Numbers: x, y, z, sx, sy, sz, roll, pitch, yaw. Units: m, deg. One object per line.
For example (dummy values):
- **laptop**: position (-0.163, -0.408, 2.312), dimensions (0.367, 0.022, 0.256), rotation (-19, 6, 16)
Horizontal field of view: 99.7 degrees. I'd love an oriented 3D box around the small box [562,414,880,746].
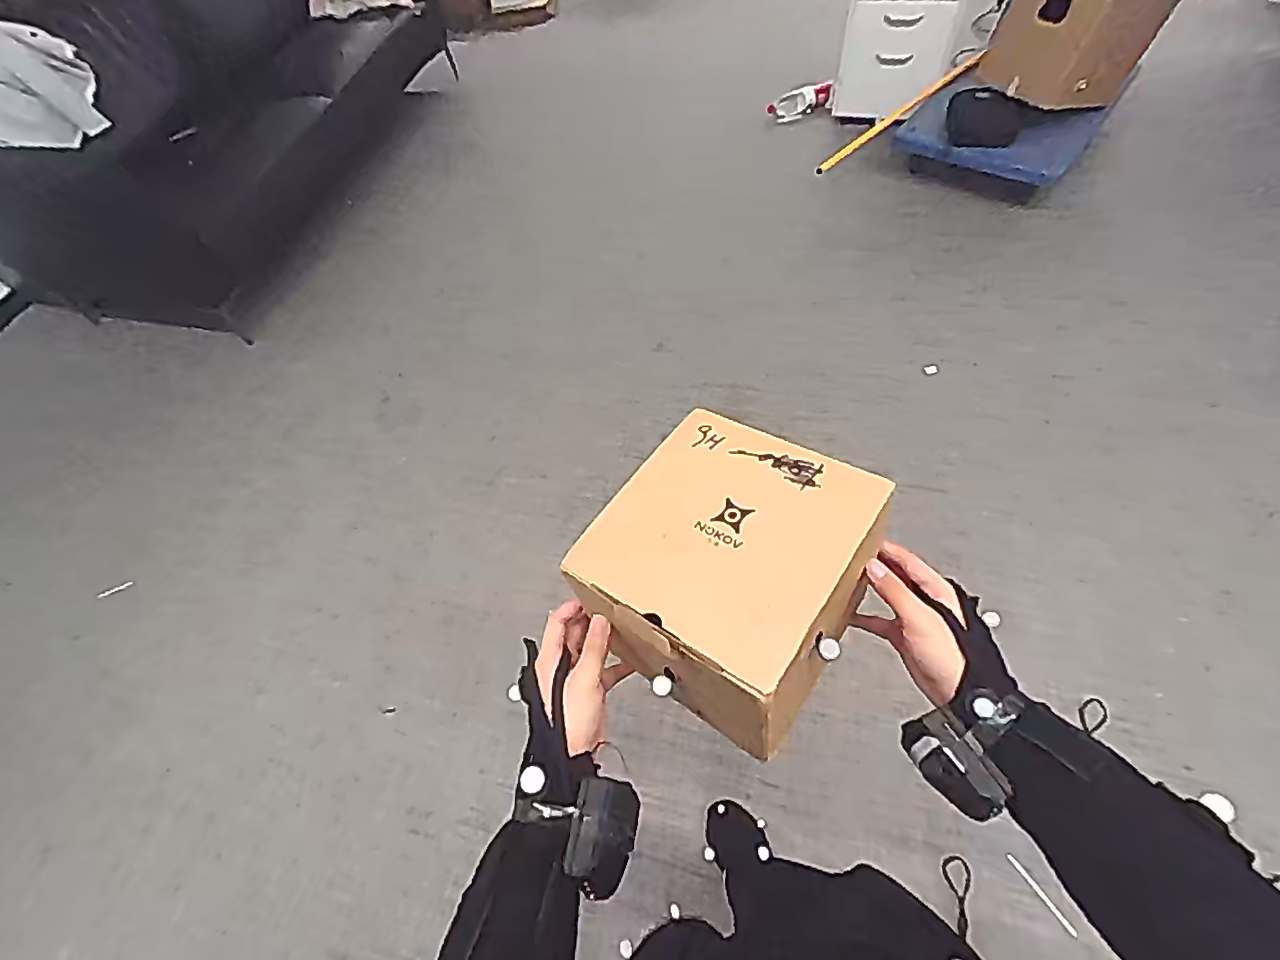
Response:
- **small box**: position (0.072, 0.083, 0.442), dimensions (0.168, 0.176, 0.179), rotation (26, 62, 30)
